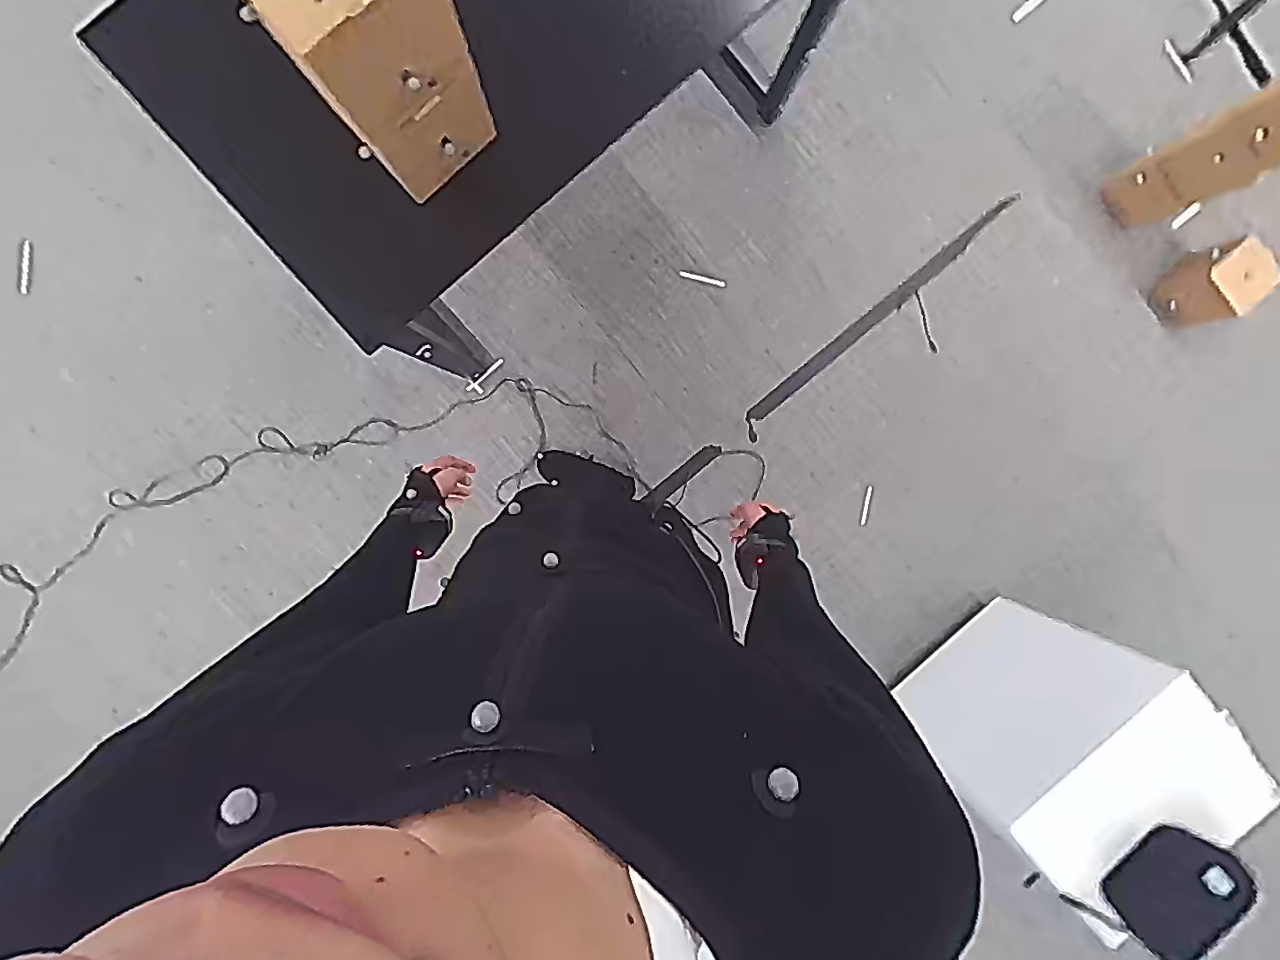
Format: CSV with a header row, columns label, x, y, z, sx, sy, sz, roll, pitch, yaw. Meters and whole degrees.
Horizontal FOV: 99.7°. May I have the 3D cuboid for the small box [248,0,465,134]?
label,x,y,z,sx,sy,sz,roll,pitch,yaw
small box,-0.322,-0.527,0.579,0.168,0.176,0.179,-42,96,1

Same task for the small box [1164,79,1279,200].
label,x,y,z,sx,sy,sz,roll,pitch,yaw
small box,1.540,-0.872,1.405,0.168,0.176,0.179,-41,97,0

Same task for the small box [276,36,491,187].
label,x,y,z,sx,sy,sz,roll,pitch,yaw
small box,-0.332,-0.540,0.743,0.168,0.176,0.179,-43,97,0

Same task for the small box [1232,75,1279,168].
label,x,y,z,sx,sy,sz,roll,pitch,yaw
small box,1.550,-0.869,1.243,0.179,0.176,0.168,-39,97,1

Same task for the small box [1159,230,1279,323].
label,x,y,z,sx,sy,sz,roll,pitch,yaw
small box,1.727,-0.597,1.610,0.179,0.176,0.168,-42,95,1
